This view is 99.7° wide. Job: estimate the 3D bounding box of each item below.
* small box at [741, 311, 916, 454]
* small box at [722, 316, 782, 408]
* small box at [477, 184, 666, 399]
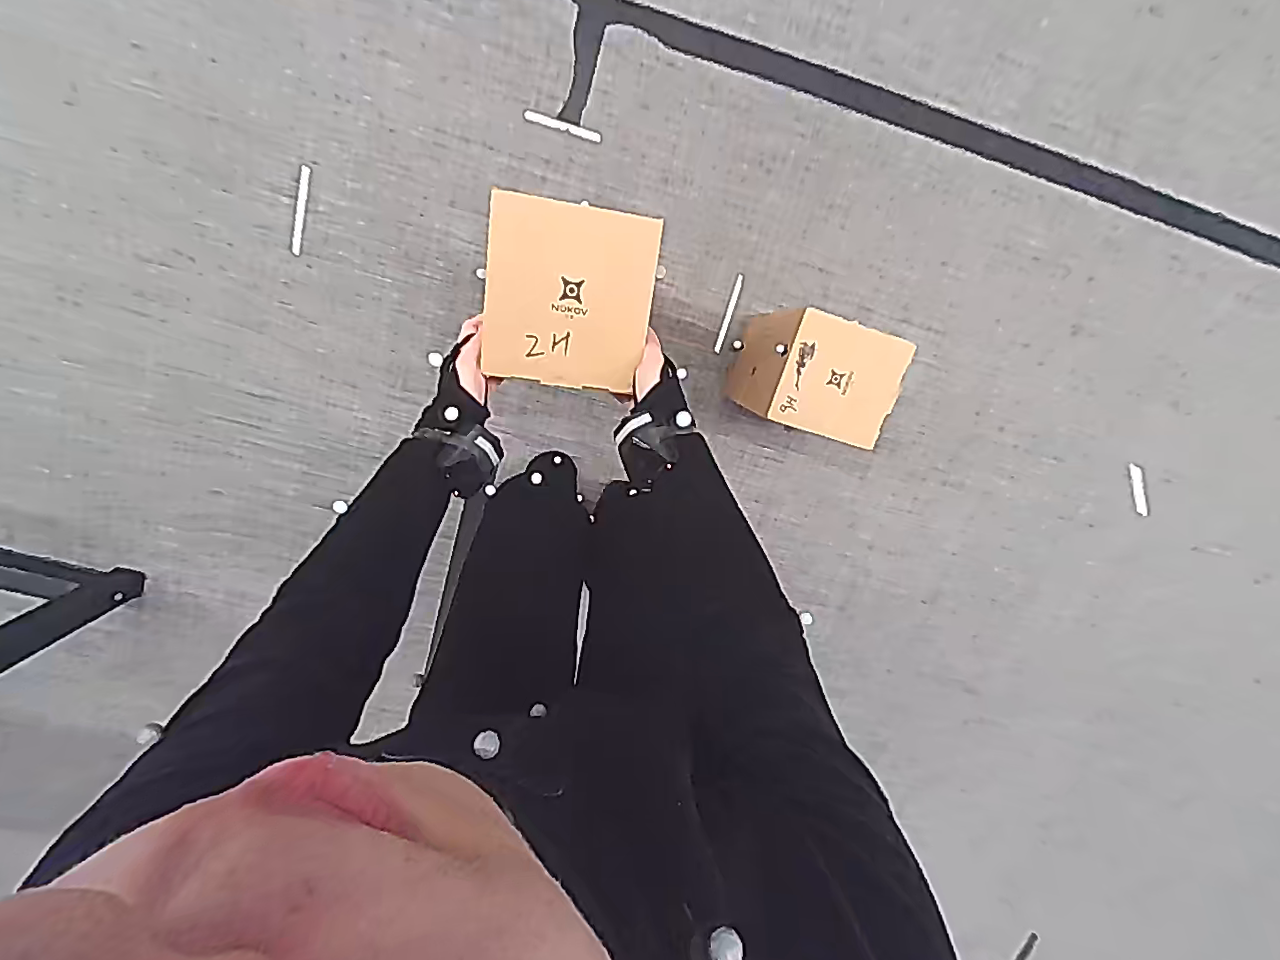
[{"bbox_3d":[0.282,-0.157,0.851,0.179,0.176,0.168,16,103,-8],"label":"small box"},{"bbox_3d":[0.273,-0.198,1.009,0.179,0.176,0.168,18,103,-8],"label":"small box"},{"bbox_3d":[-0.078,-0.200,0.595,0.168,0.176,0.179,6,108,-9],"label":"small box"}]
